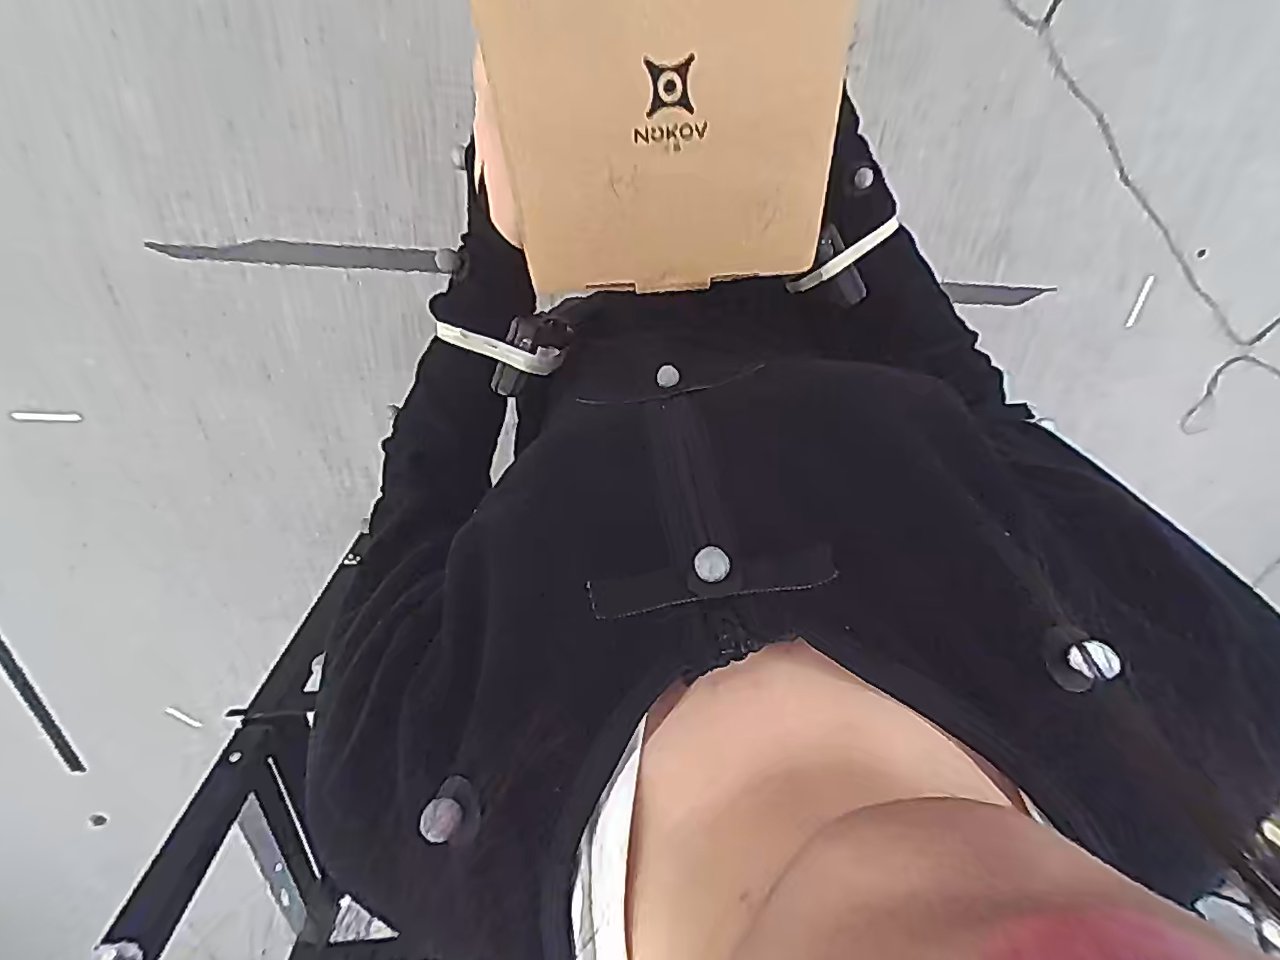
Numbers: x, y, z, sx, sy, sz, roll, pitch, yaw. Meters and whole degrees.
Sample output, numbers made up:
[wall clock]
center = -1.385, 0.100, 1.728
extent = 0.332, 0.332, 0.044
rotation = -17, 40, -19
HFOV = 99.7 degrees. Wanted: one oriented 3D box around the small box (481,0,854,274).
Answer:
[small box]
center = 0.010, -0.243, 0.312
extent = 0.168, 0.176, 0.179
rotation = -5, 134, 0
